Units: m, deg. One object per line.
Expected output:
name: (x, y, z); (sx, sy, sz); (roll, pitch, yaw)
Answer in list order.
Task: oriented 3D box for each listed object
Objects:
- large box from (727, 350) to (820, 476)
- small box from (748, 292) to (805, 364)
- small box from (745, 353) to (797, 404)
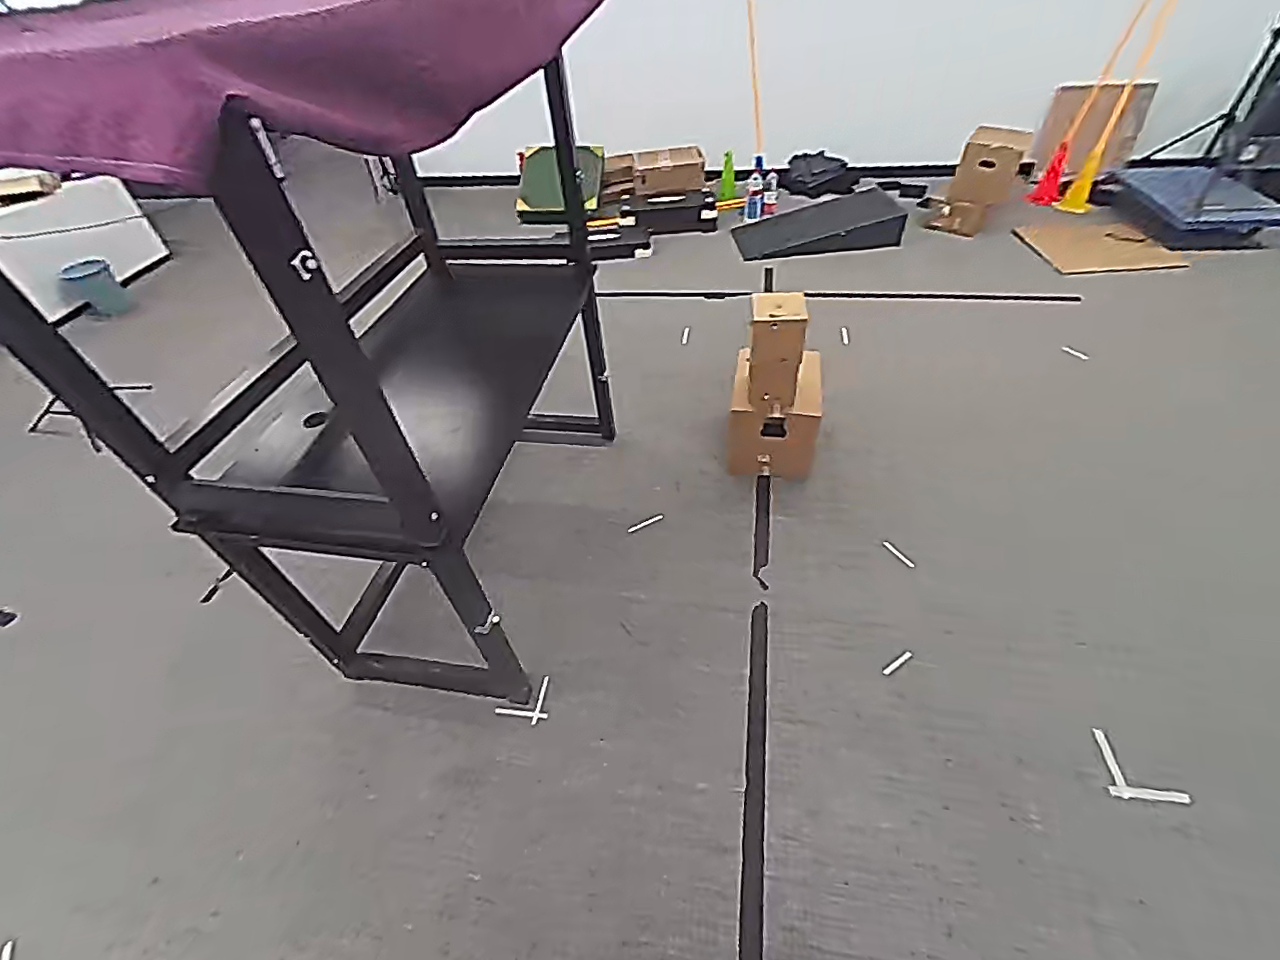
large box: (0.507, -0.263, 2.109); (0.320, 0.320, 0.408); (6, 46, 10)
small box: (0.441, -0.499, 1.775); (0.168, 0.176, 0.179); (0, 45, 9)
small box: (0.455, -0.386, 1.892); (0.168, 0.176, 0.179); (3, 47, 11)
